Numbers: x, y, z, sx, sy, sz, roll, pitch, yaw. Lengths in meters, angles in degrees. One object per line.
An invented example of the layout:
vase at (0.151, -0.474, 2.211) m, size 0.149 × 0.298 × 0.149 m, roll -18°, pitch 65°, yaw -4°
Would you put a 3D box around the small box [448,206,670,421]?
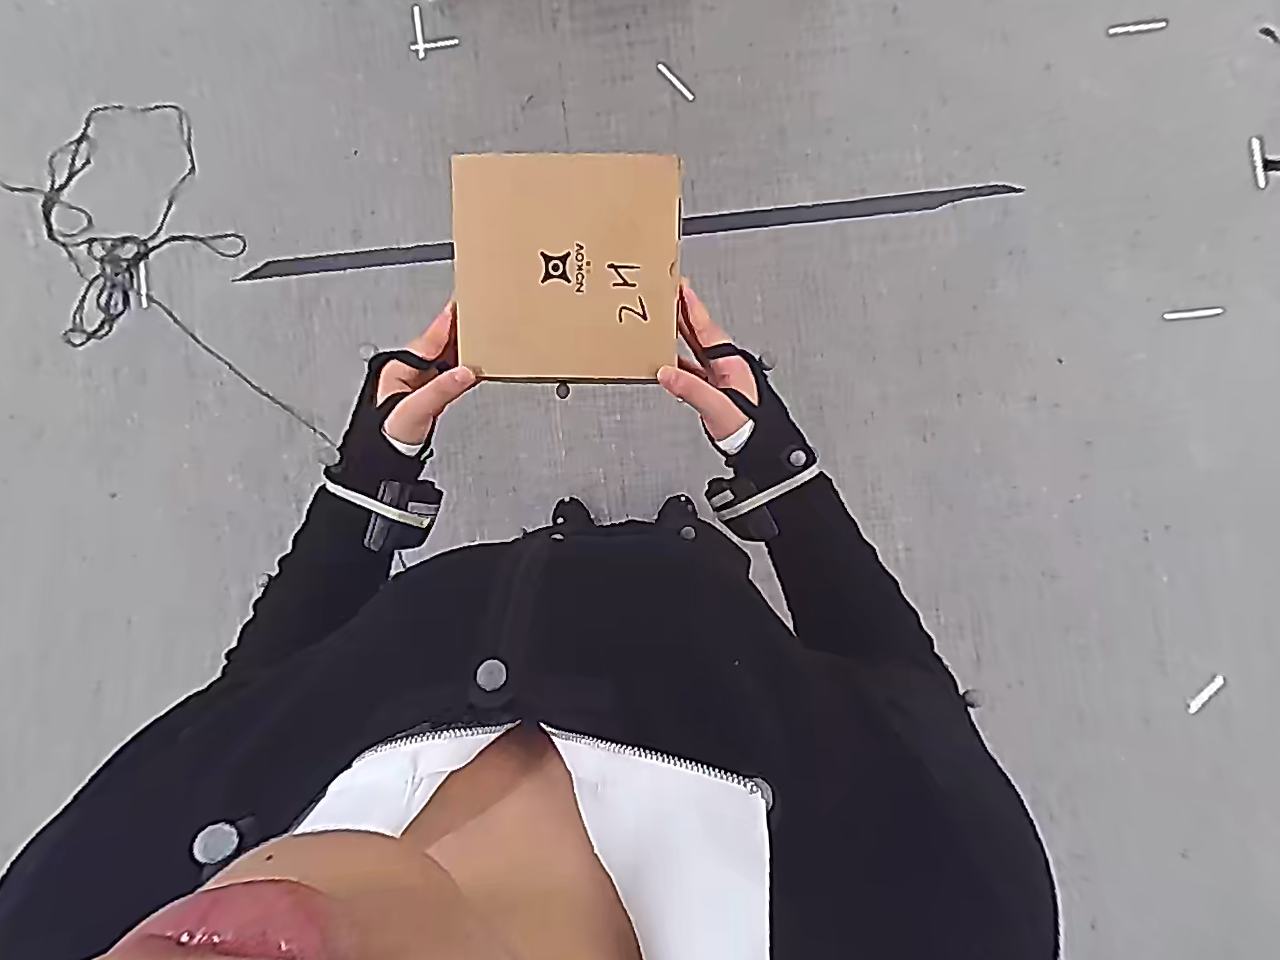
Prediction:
small box at (-0.062, -0.143, 0.509) m, size 0.179 × 0.176 × 0.168 m, roll 1°, pitch 100°, yaw 1°
